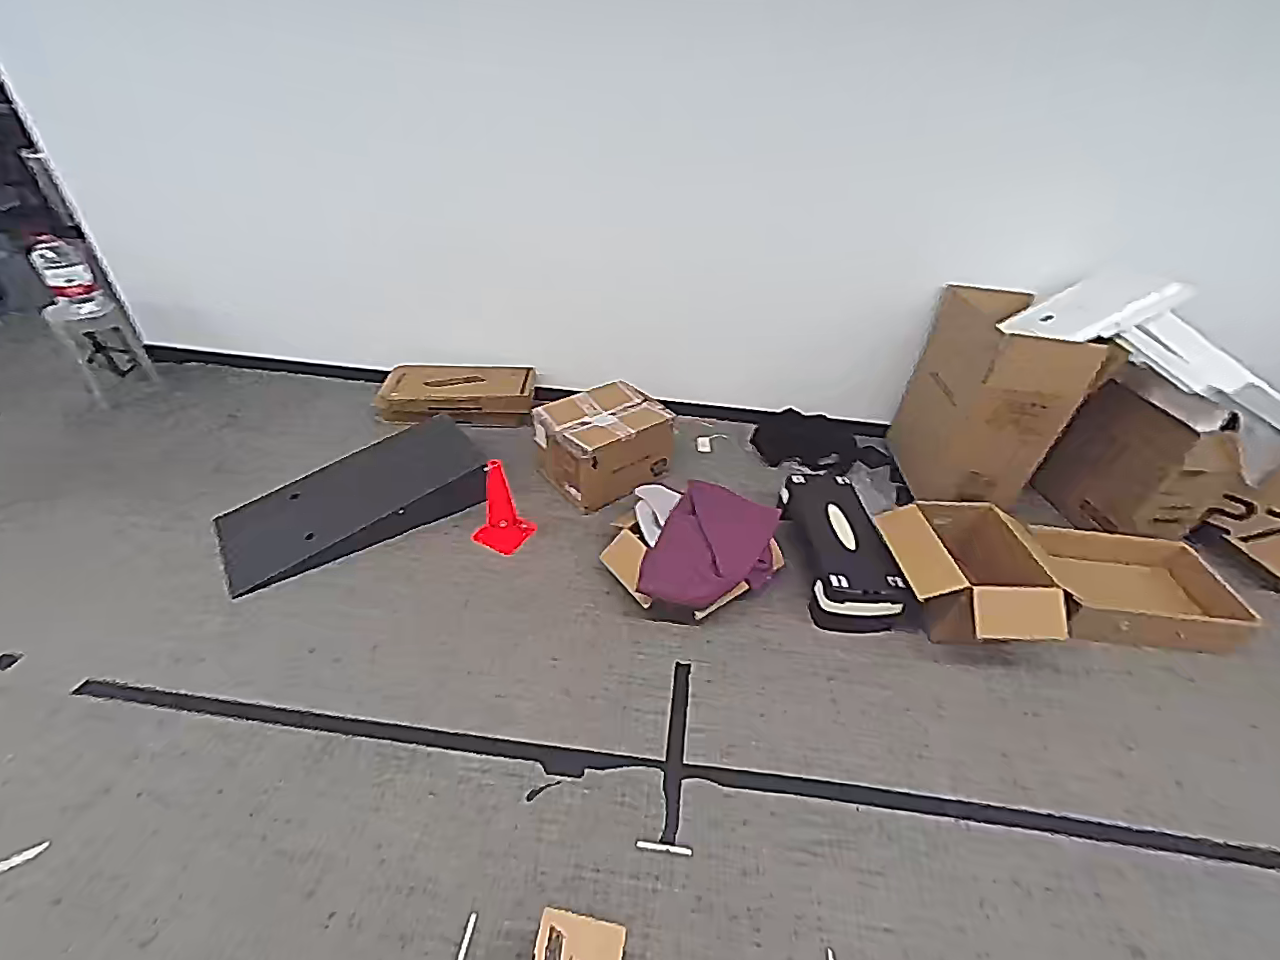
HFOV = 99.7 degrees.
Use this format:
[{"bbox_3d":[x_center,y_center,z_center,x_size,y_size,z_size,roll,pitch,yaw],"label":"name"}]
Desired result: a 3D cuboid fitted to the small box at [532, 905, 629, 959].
[{"bbox_3d":[-0.127,0.995,1.083,0.179,0.176,0.168,10,39,6],"label":"small box"}]
